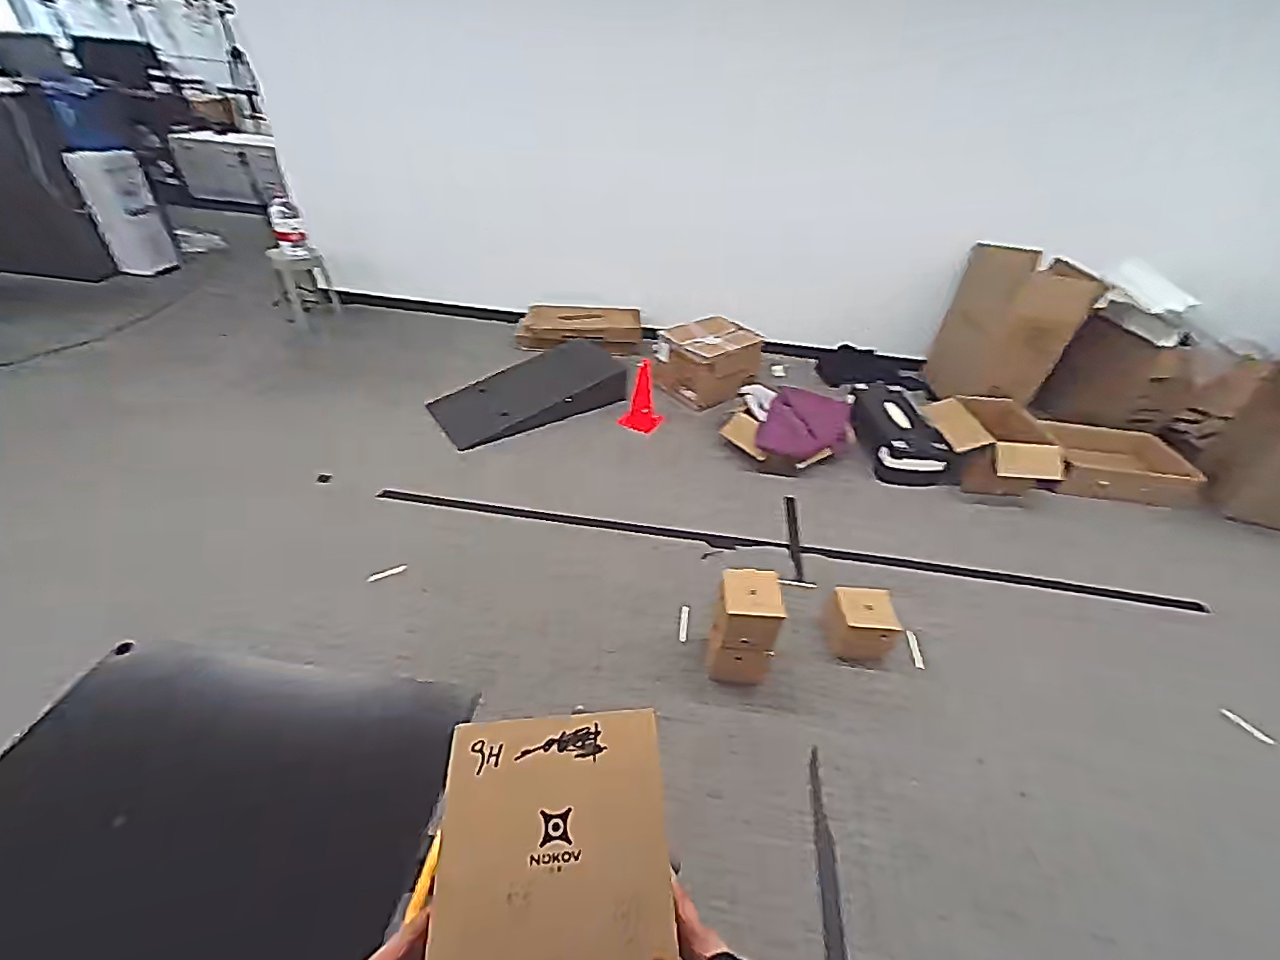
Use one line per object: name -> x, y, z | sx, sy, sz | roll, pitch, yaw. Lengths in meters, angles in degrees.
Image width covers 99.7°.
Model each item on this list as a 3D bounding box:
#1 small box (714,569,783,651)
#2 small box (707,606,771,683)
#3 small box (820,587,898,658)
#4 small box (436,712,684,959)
small box -> 0.320, 0.394, 1.639 | 0.168, 0.176, 0.179 | 3, 39, -1
small box -> 0.308, 0.529, 1.729 | 0.179, 0.176, 0.168 | 6, 38, 1
small box -> 0.736, 0.487, 1.834 | 0.179, 0.176, 0.168 | 4, 38, -1
small box -> -0.056, 0.312, 0.453 | 0.168, 0.176, 0.179 | -3, 52, -4
